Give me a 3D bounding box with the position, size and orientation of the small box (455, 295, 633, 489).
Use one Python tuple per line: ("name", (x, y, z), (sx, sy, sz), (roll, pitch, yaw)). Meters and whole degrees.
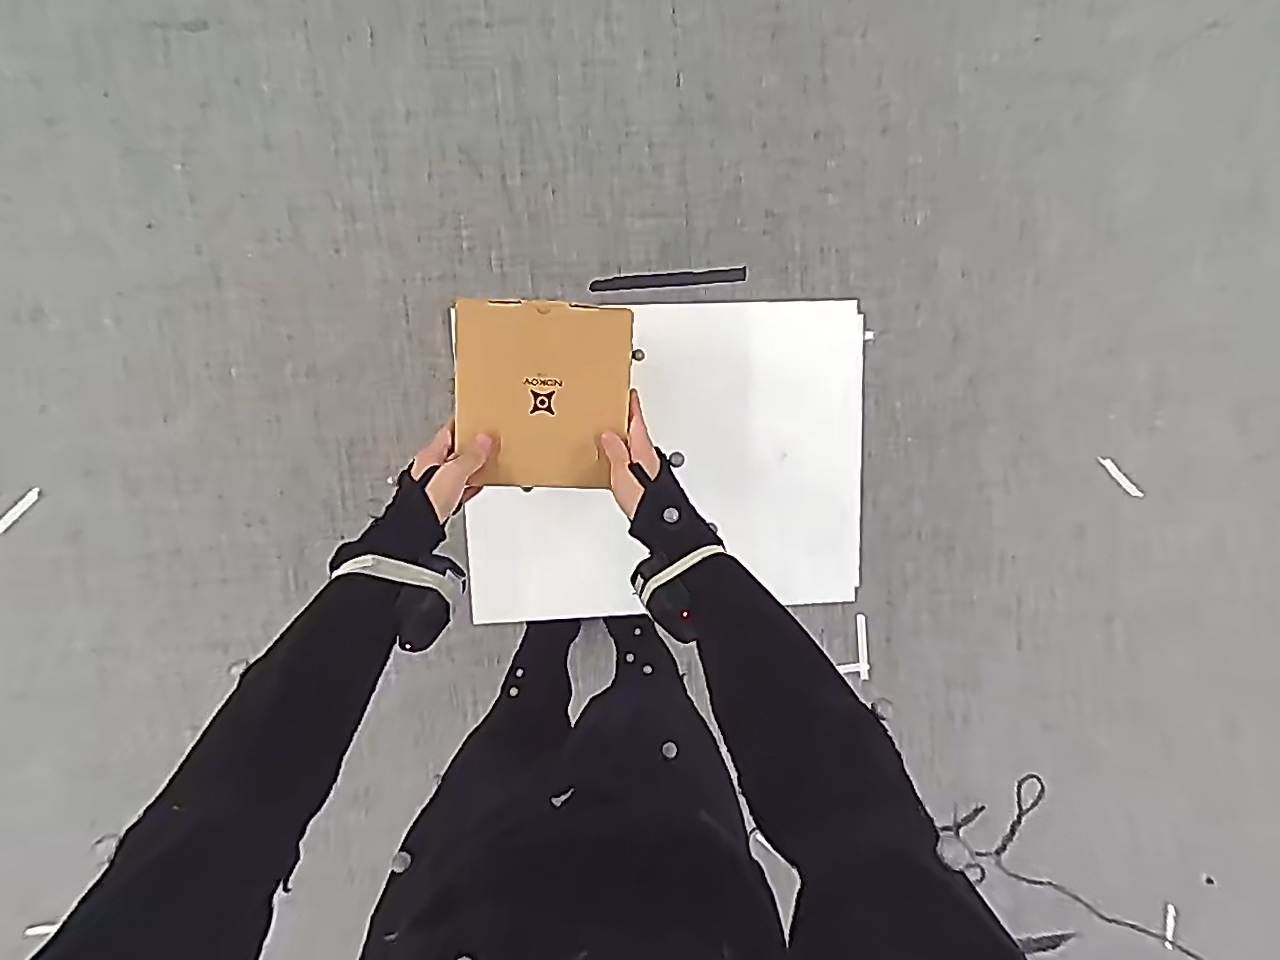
("small box", (-0.097, -0.090, 0.589), (0.168, 0.176, 0.179), (2, 96, -5))
